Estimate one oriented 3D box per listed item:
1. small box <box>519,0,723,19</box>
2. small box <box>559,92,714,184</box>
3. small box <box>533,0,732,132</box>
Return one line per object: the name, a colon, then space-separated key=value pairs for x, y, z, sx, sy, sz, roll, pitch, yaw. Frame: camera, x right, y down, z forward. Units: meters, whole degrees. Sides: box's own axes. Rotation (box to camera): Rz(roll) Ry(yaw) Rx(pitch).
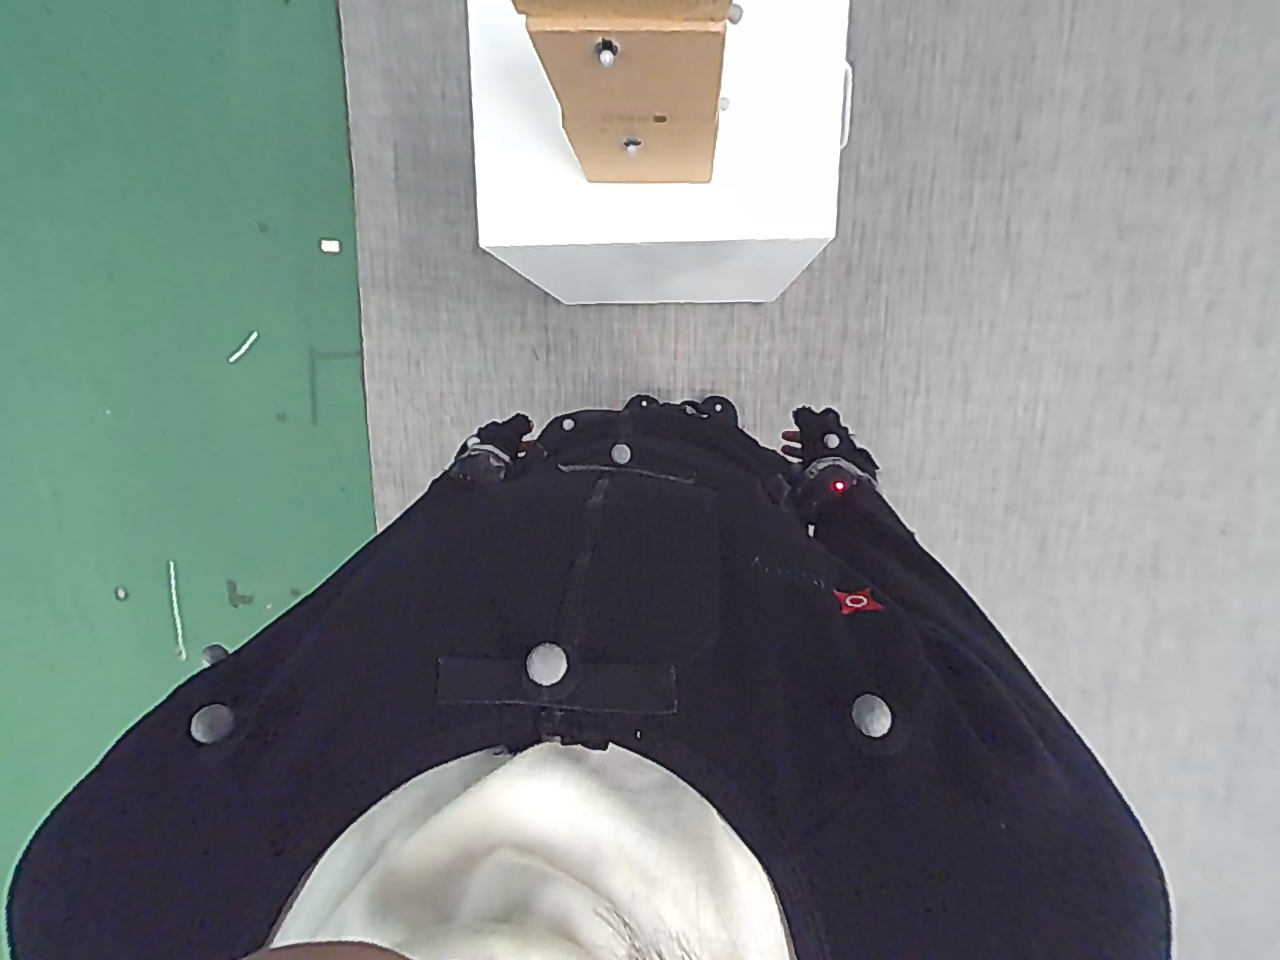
small box: x=-0.018 y=-0.441 z=0.347 sx=0.179 sy=0.176 sz=0.168 roll=5 pitch=101 yaw=4
small box: x=0.006 y=-0.484 z=0.669 sx=0.179 sy=0.176 sz=0.168 roll=3 pitch=99 yaw=4
small box: x=-0.001 y=-0.462 z=0.510 sx=0.168 sy=0.176 sz=0.179 roll=1 pitch=100 yaw=4
